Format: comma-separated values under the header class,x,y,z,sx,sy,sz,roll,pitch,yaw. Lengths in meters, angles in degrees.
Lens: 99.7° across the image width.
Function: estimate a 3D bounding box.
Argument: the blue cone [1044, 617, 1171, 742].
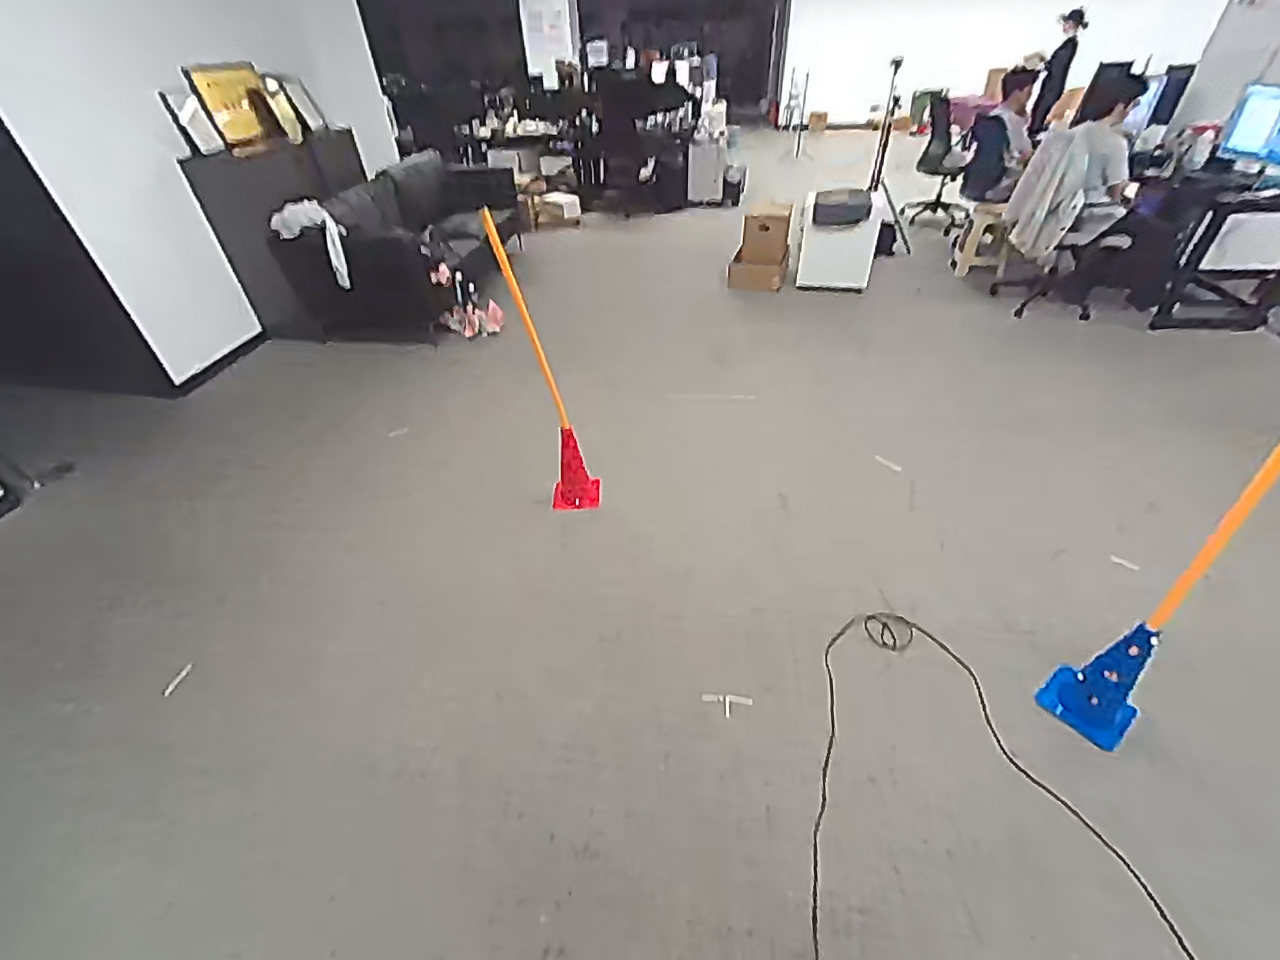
class,x,y,z,sx,sy,sz,roll,pitch,yaw
blue cone,1.274,0.493,1.440,0.193,0.380,0.192,-26,44,-29
